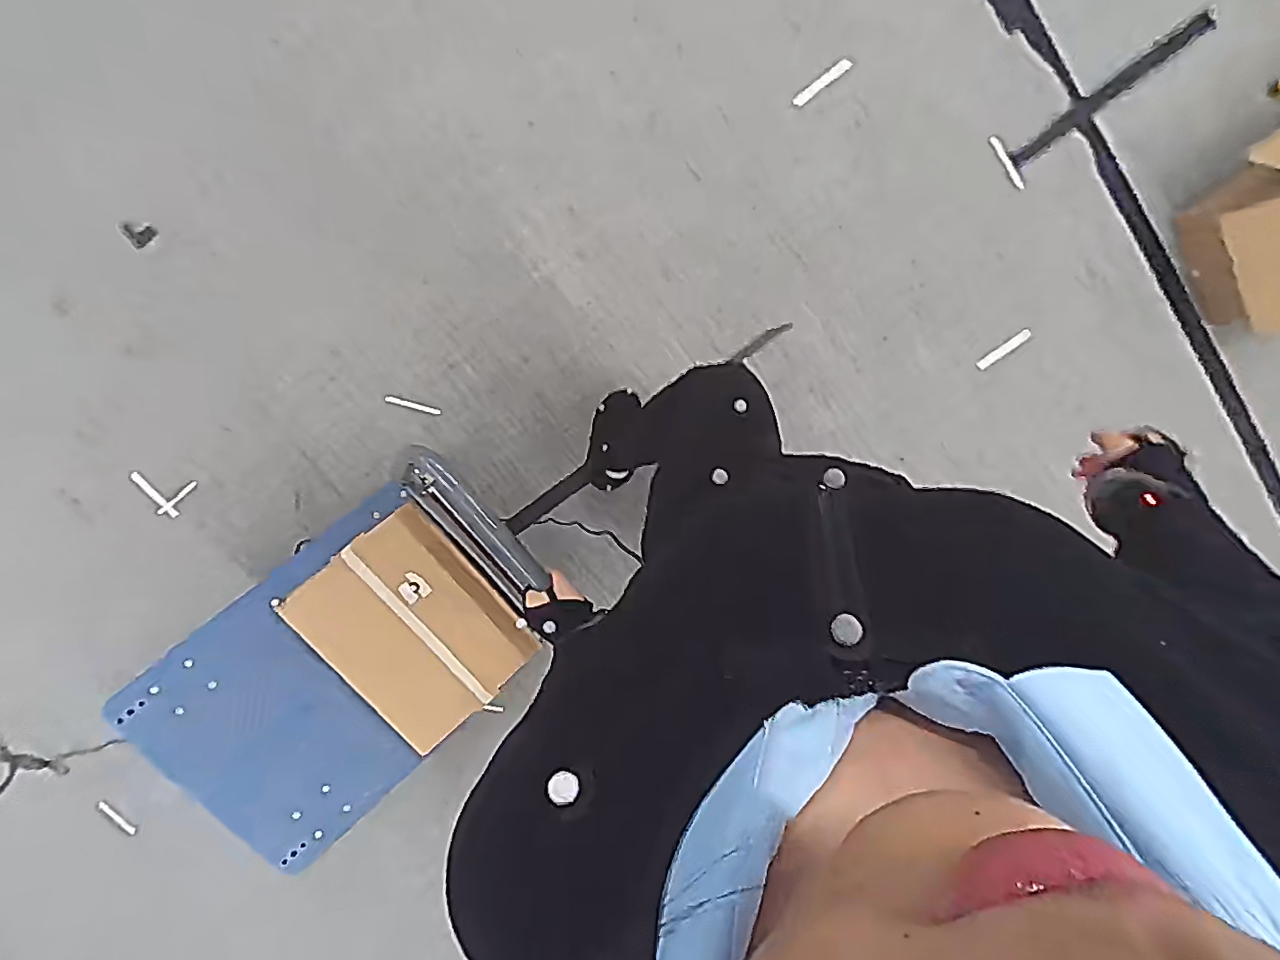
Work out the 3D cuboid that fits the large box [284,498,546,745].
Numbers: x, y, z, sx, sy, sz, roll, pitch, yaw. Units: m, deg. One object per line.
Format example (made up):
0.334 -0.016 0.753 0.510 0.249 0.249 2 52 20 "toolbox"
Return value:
-0.468 0.285 1.210 0.320 0.320 0.408 -42 100 -14 "large box"
